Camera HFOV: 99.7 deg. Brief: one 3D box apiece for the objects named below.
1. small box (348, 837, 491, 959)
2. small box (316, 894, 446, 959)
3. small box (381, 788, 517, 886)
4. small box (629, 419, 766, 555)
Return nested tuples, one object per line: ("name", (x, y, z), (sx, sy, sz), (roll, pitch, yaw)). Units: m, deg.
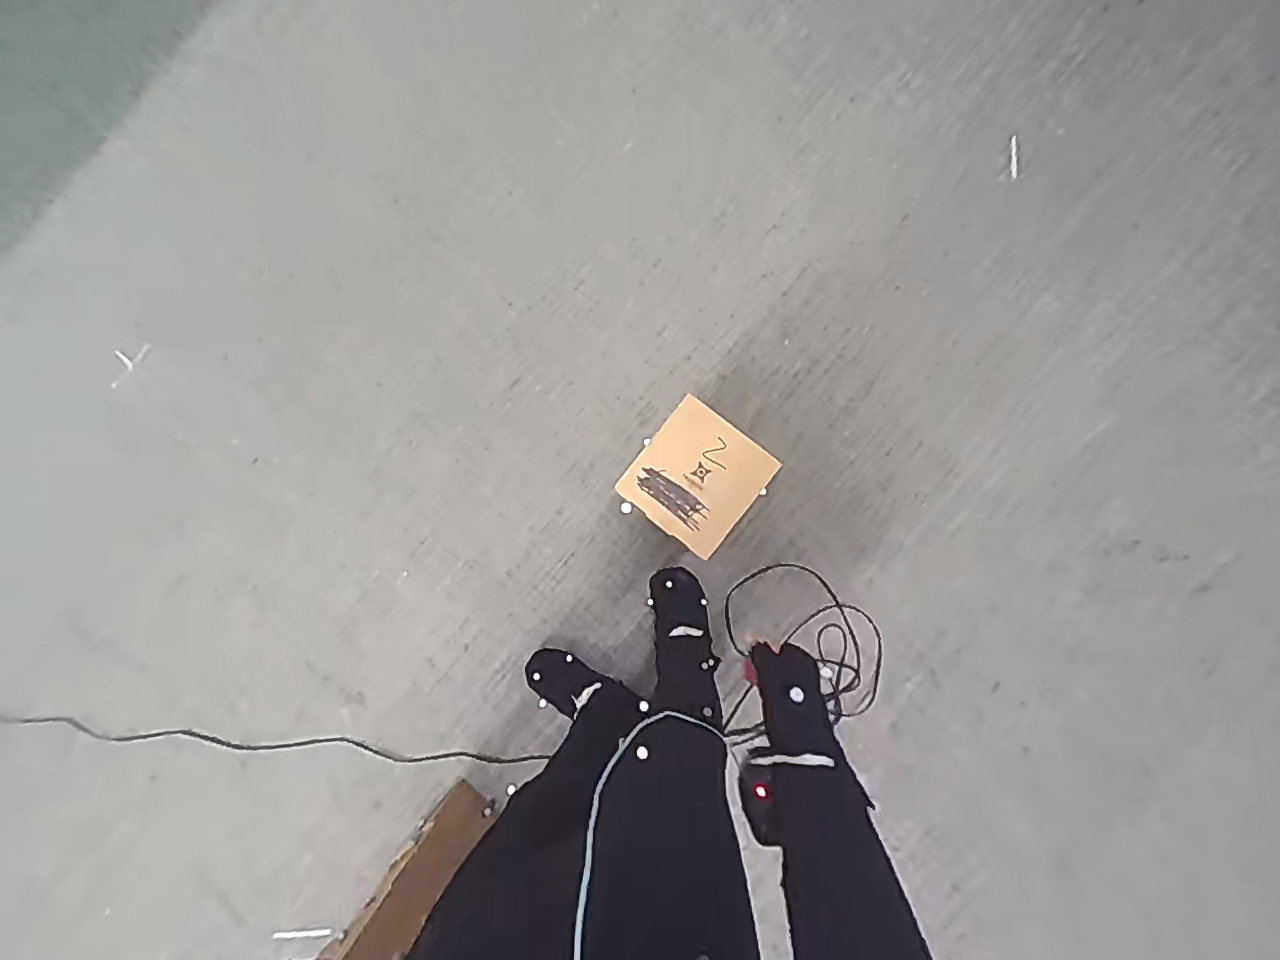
("small box", (-0.407, 0.801, 0.987), (0.179, 0.176, 0.168), (43, 91, 3))
("small box", (-0.423, 0.801, 0.825), (0.168, 0.176, 0.179), (-42, 86, 1))
("small box", (-0.398, 0.800, 1.154), (0.179, 0.176, 0.168), (39, 93, 5))
("small box", (0.099, 0.016, 0.990), (0.179, 0.176, 0.168), (42, 90, 3))
